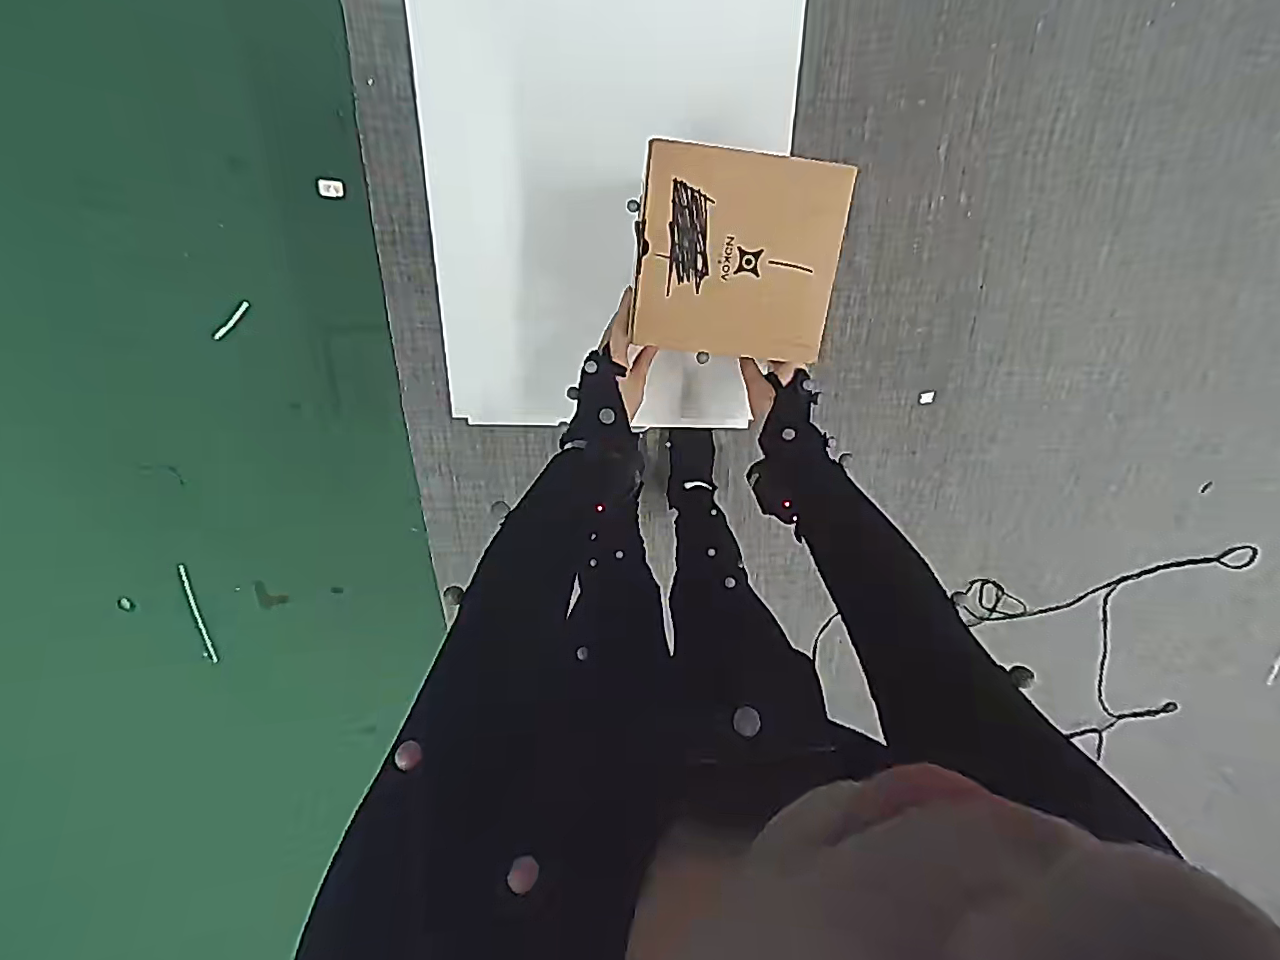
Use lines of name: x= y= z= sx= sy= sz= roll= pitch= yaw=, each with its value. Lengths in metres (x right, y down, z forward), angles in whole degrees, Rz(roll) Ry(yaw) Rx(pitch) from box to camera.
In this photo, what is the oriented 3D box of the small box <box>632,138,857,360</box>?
small box: x=0.086 y=-0.222 z=0.549 sx=0.179 sy=0.176 sz=0.168 roll=5 pitch=109 yaw=-4
